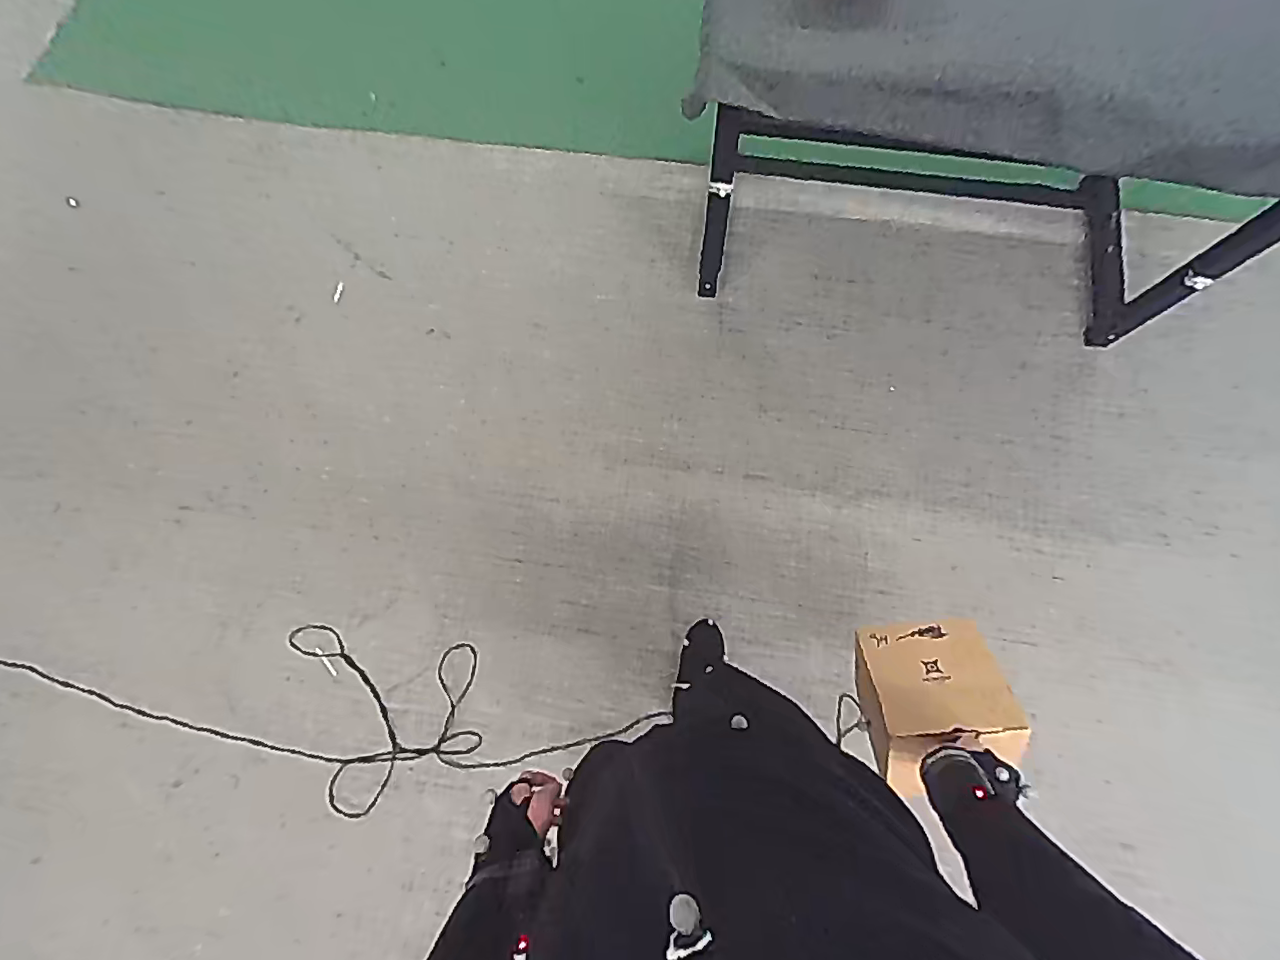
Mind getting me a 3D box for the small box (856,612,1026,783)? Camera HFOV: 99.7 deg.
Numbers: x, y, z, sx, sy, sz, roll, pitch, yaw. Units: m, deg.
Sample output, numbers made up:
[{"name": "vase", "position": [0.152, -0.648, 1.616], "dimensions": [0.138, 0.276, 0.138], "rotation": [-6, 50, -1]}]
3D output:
[{"name": "small box", "position": [0.424, 0.323, 0.792], "dimensions": [0.168, 0.176, 0.179], "rotation": [-9, 36, 10]}]
